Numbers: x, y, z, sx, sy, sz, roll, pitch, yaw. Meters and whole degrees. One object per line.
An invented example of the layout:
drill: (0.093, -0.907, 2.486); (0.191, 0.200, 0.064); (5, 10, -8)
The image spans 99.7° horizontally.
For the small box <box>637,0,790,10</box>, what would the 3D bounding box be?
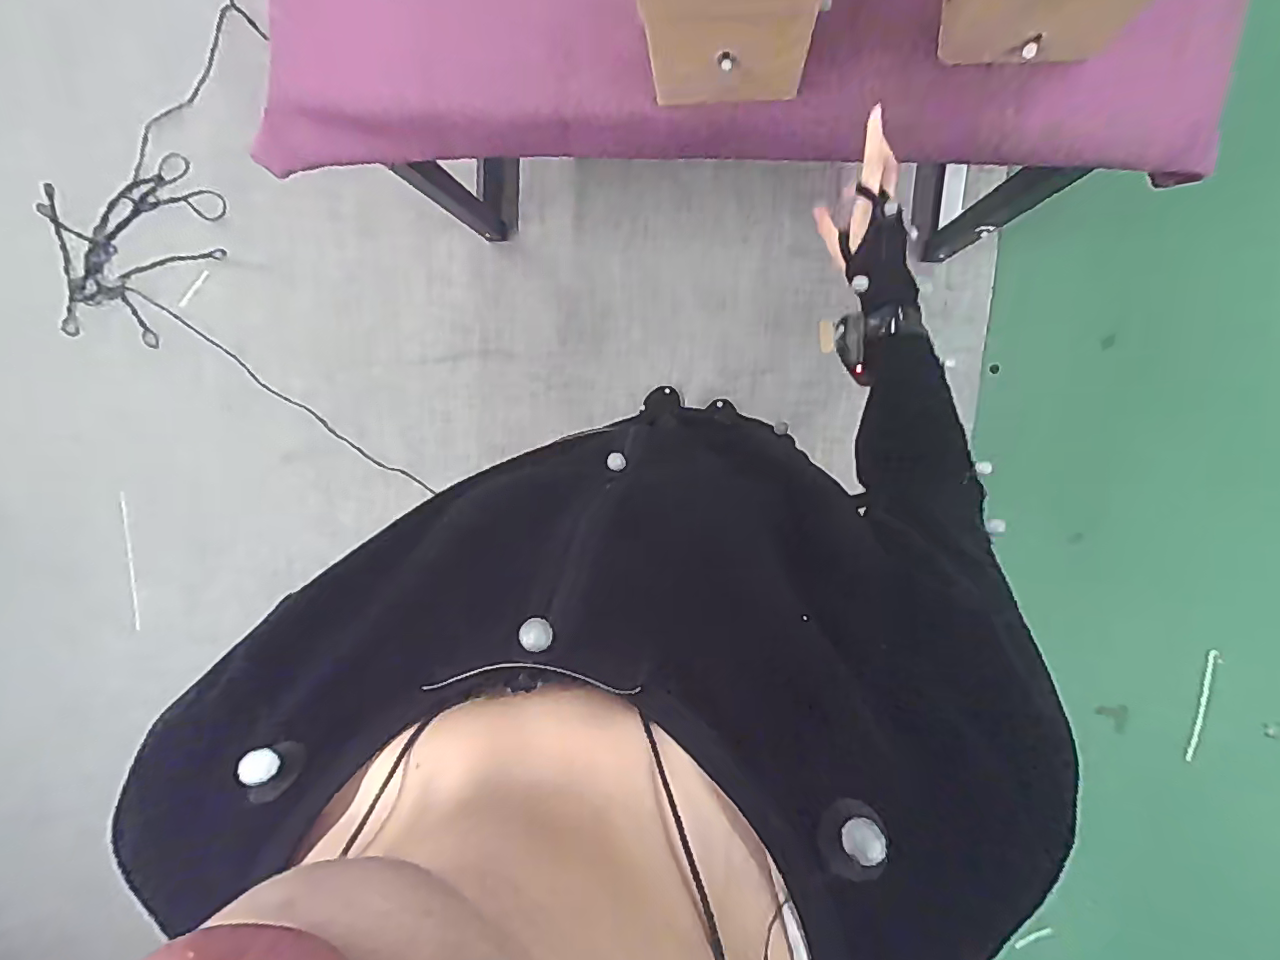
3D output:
small box: (0.076, -0.528, 0.437); (0.179, 0.176, 0.168); (4, 96, 8)

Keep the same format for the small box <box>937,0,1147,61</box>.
small box: (0.437, -0.569, 0.552); (0.179, 0.176, 0.168); (4, 96, 8)
